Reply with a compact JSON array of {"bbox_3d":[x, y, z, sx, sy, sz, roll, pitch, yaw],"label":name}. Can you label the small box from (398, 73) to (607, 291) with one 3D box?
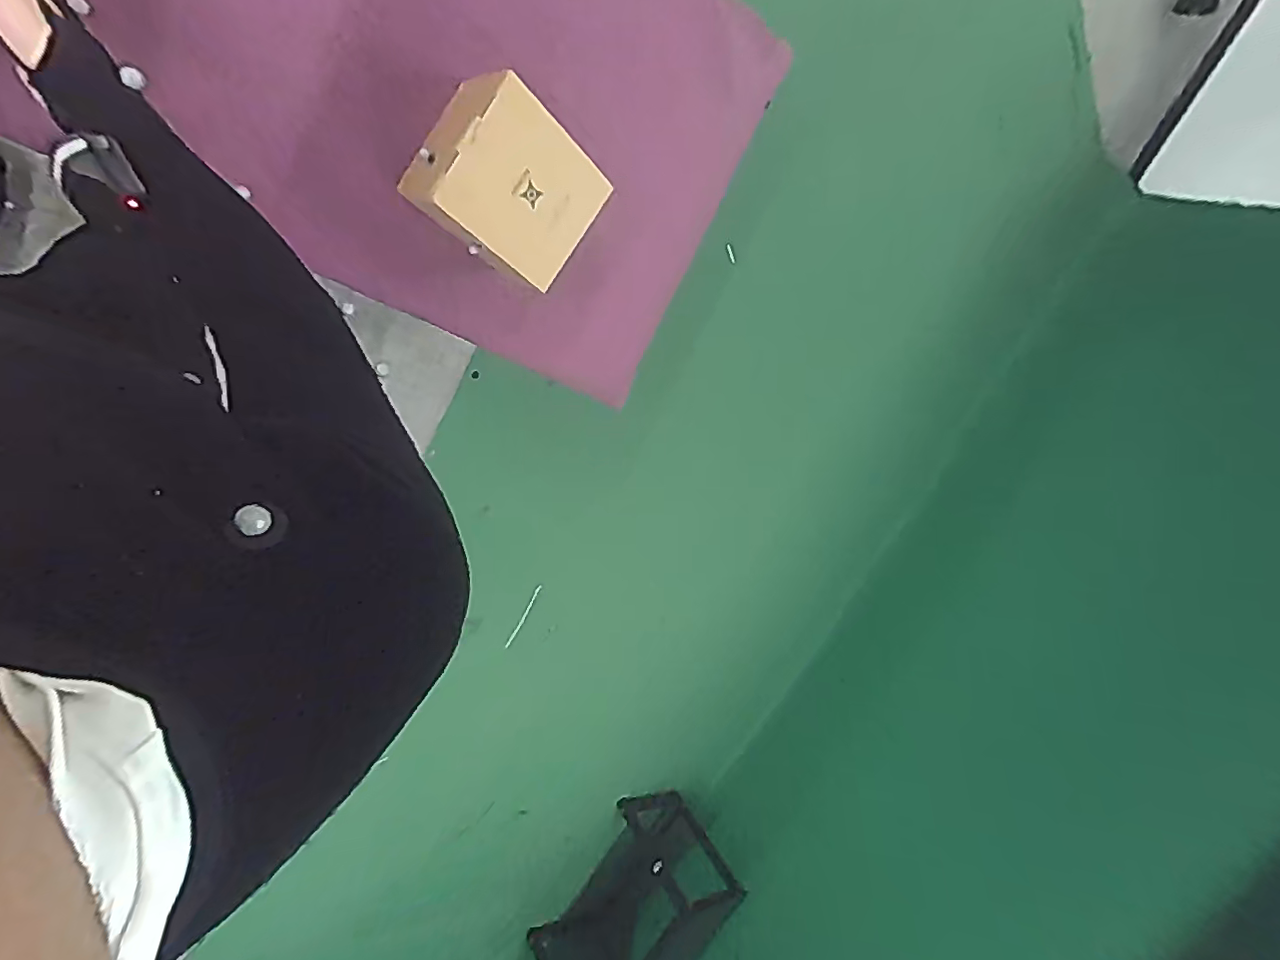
[{"bbox_3d":[-0.184,-0.380,0.707,0.179,0.176,0.168,32,96,-45],"label":"small box"}]
